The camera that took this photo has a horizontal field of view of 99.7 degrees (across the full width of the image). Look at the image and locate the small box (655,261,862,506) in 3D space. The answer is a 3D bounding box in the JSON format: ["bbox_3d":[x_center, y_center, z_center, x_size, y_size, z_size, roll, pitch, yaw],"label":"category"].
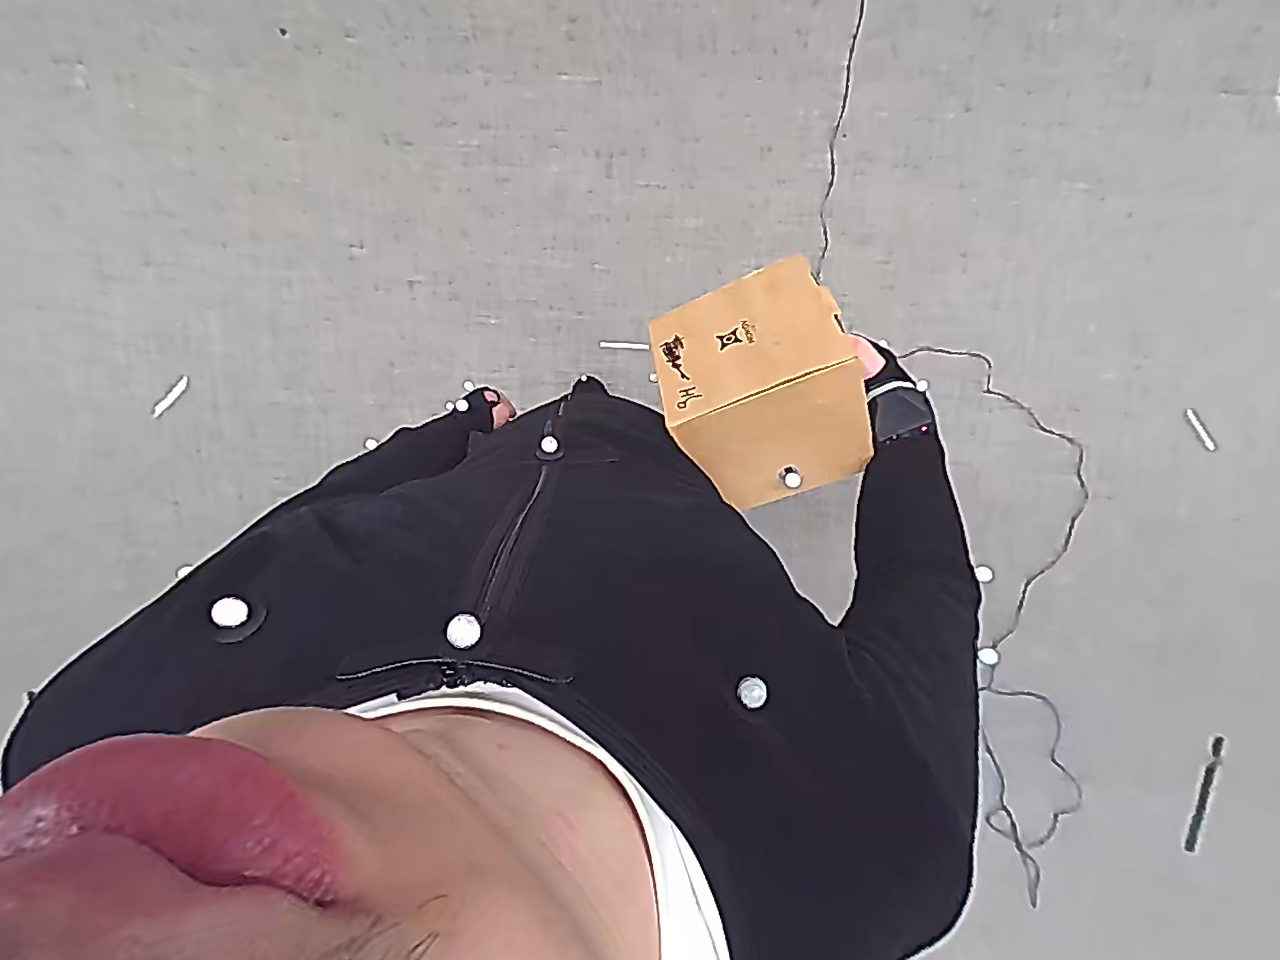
[{"bbox_3d":[0.134,-0.098,0.599,0.179,0.168,0.176,-20,139,15],"label":"small box"}]
